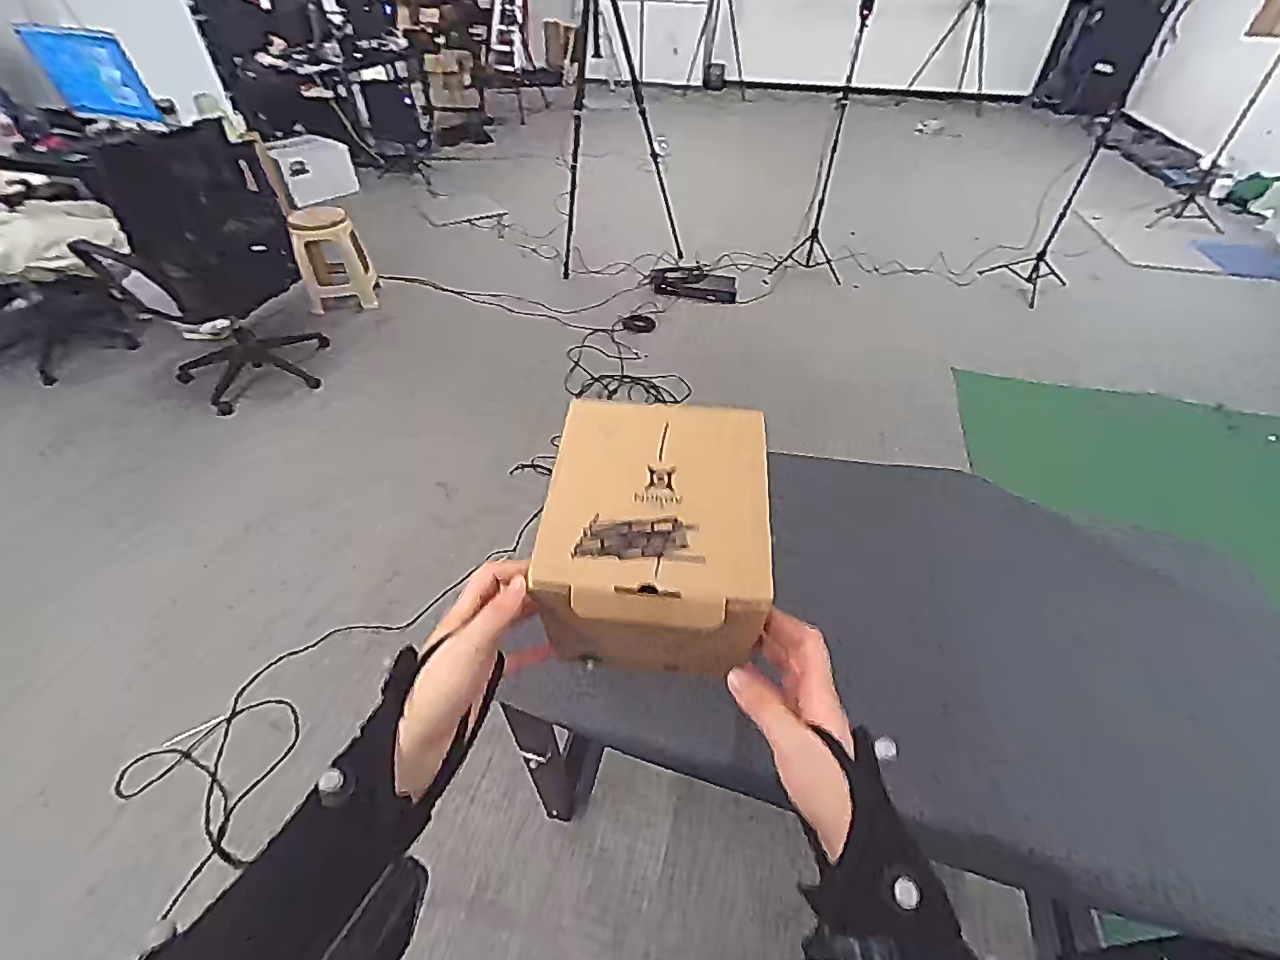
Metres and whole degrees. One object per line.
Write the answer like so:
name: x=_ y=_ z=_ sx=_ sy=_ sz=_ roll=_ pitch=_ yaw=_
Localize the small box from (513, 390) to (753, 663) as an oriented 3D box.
small box: x=0.005 y=0.046 z=0.471 sx=0.168 sy=0.176 sz=0.179 roll=4 pitch=54 yaw=4
